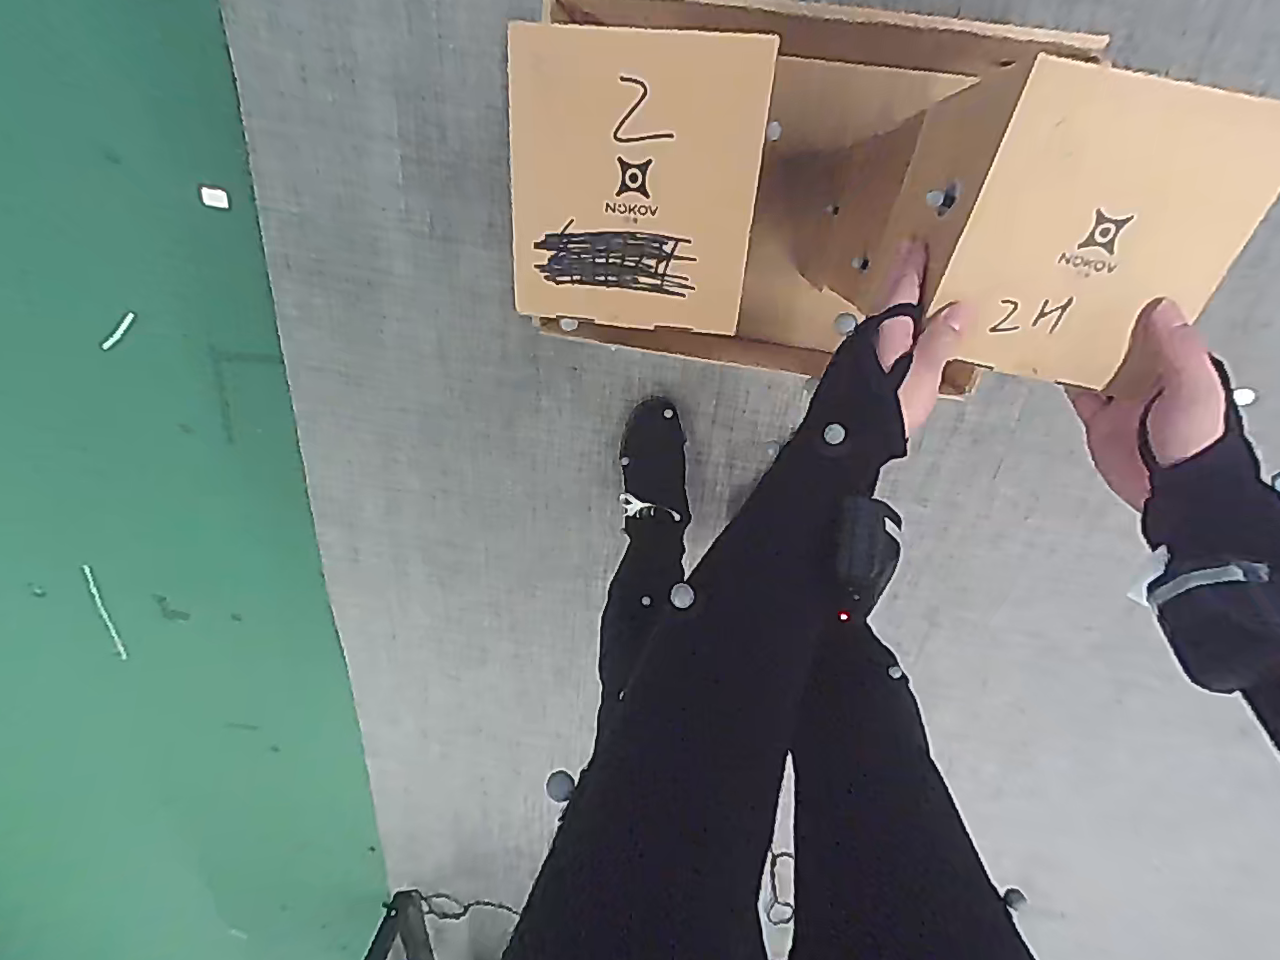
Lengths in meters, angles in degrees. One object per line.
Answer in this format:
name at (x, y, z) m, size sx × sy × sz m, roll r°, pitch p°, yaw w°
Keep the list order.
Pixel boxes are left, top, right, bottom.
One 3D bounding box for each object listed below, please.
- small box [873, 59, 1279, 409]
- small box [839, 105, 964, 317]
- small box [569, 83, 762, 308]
small box at (0.302, -0.179, 0.411) m, size 0.168 × 0.176 × 0.179 m, roll 14°, pitch 118°, yaw 1°
small box at (0.323, -0.253, 0.556) m, size 0.168 × 0.176 × 0.179 m, roll 13°, pitch 118°, yaw 1°
small box at (0.028, -0.292, 0.575) m, size 0.168 × 0.176 × 0.179 m, roll 8°, pitch 116°, yaw 6°
